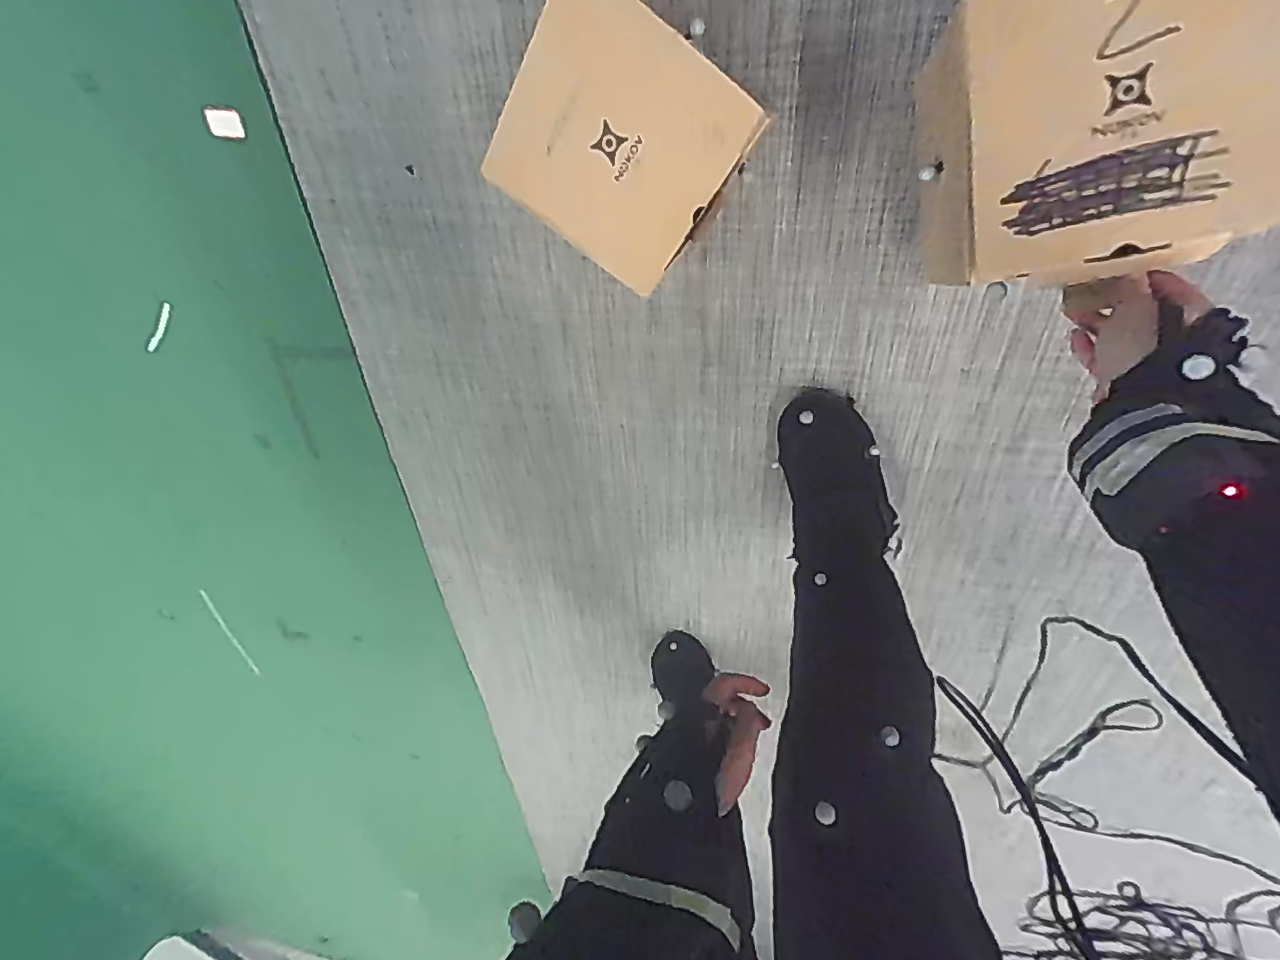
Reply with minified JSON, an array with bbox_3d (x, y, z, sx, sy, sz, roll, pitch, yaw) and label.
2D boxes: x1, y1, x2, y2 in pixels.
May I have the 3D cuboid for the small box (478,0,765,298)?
[{"bbox_3d":[-0.004,-0.299,0.481,0.179,0.176,0.168,35,125,-8],"label":"small box"}]
